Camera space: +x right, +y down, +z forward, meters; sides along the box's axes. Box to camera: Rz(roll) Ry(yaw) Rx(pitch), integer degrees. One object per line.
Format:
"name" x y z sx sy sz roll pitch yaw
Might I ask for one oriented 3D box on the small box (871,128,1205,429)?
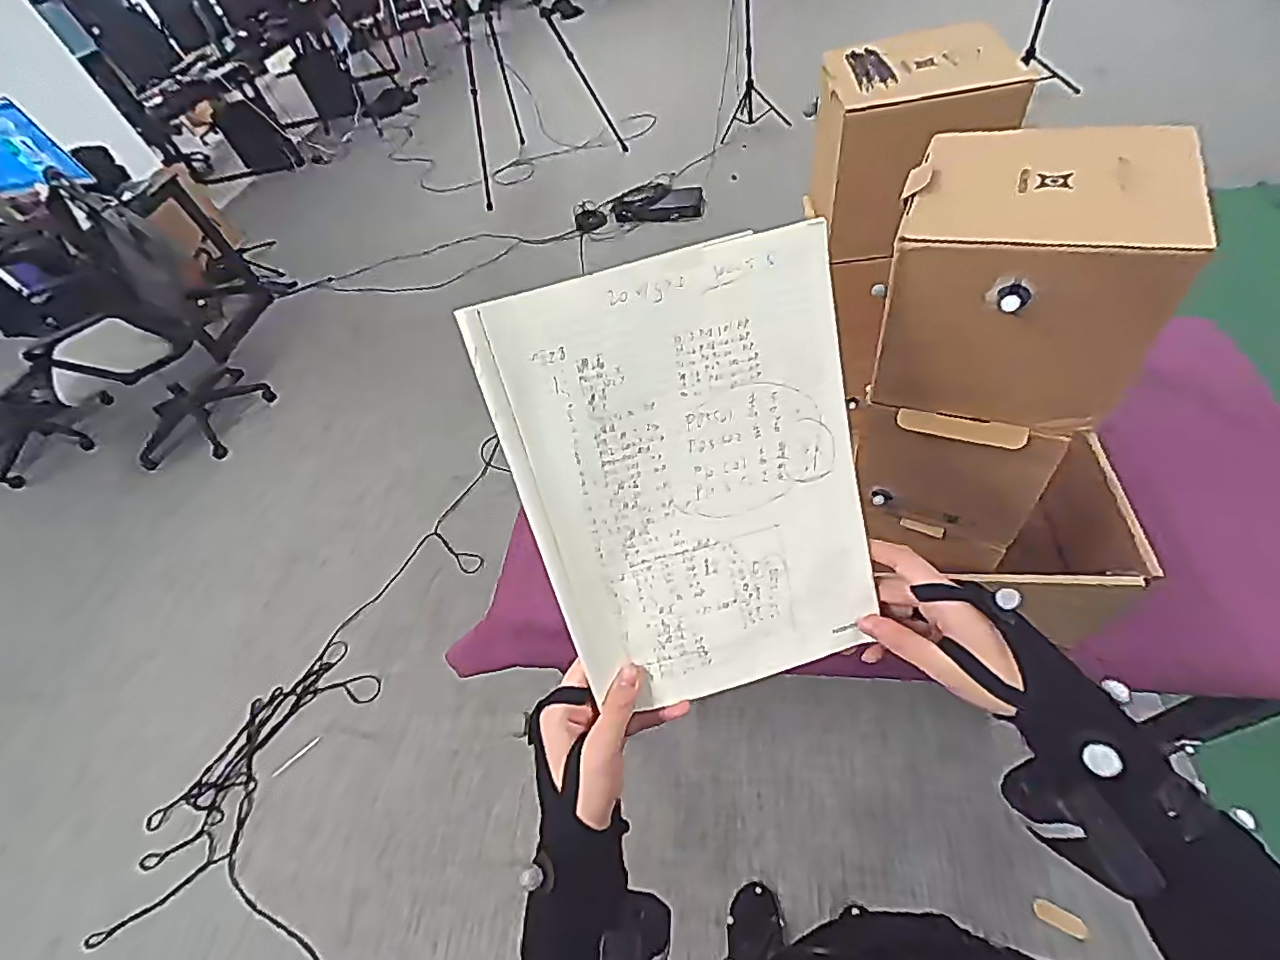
"small box" 0.305 -0.163 0.450 0.179 0.176 0.168 15 58 25

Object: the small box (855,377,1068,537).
"small box" 0.338 -0.066 0.577 0.168 0.176 0.179 16 57 27

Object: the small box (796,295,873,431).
"small box" 0.346 -0.191 0.888 0.168 0.176 0.179 -1 55 13

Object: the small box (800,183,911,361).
"small box" 0.320 -0.283 0.758 0.179 0.176 0.168 -3 54 12
